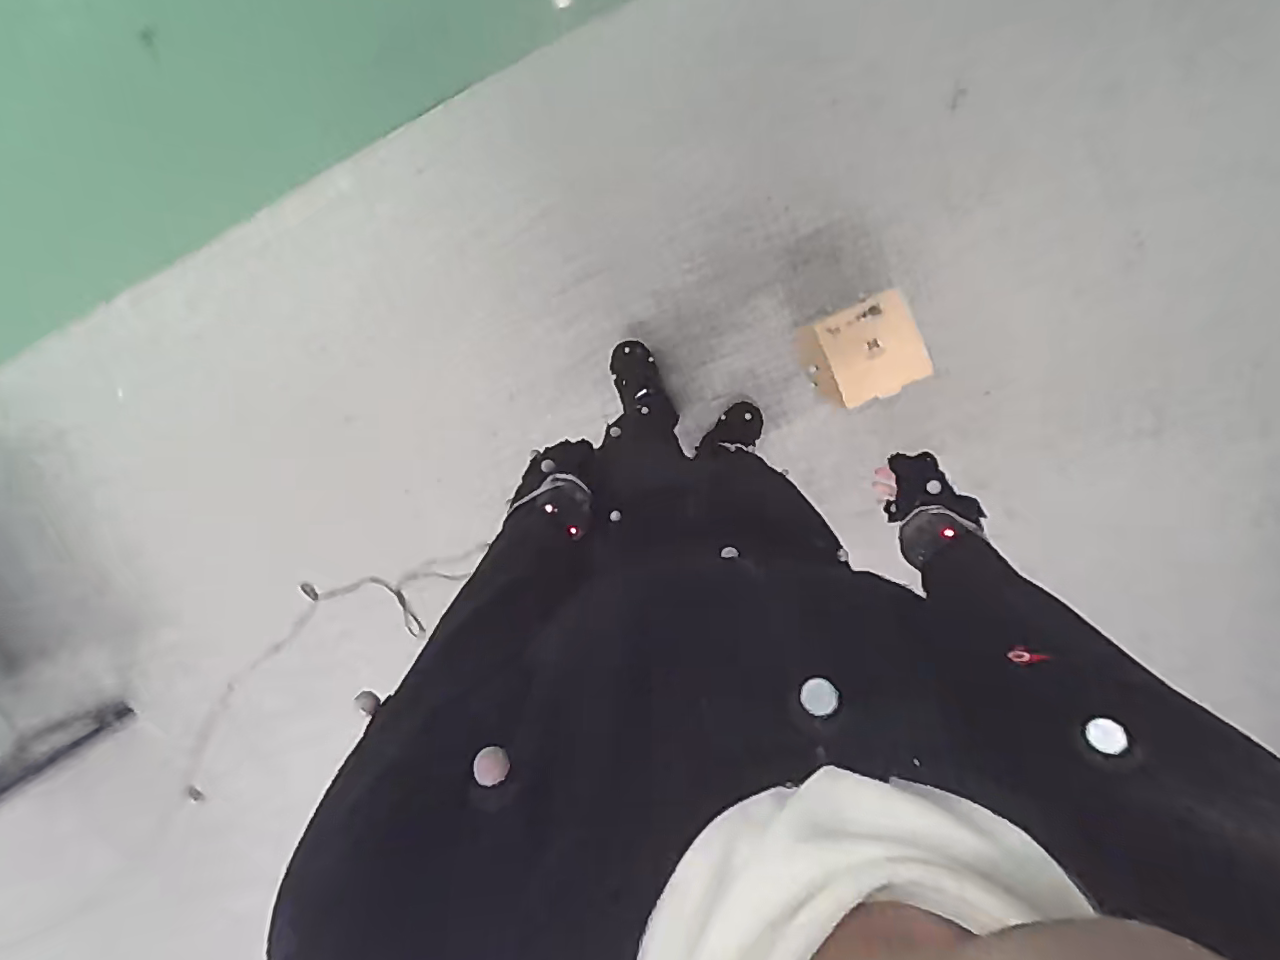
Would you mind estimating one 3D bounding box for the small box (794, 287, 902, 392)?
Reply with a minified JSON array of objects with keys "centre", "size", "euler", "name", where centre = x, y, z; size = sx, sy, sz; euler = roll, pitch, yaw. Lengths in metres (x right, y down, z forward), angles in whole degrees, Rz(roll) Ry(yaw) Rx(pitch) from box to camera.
[{"centre":[0.463,-0.316,1.228],"size":[0.168,0.176,0.179],"euler":[-21,99,12],"name":"small box"}]
